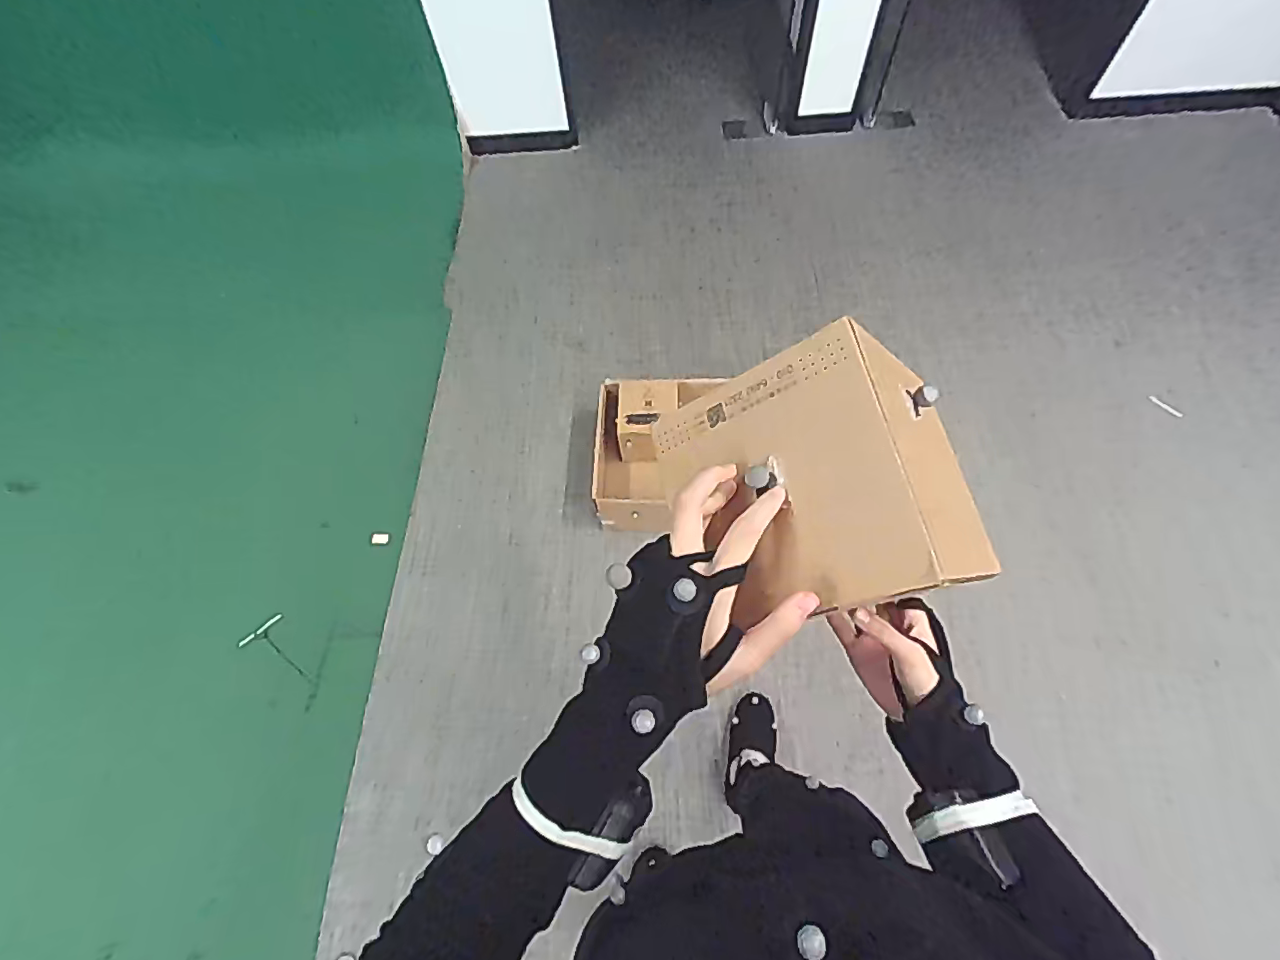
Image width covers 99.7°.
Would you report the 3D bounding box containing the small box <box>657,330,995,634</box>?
[{"bbox_3d":[0.134,0.011,0.411,0.168,0.179,0.176,-25,67,37],"label":"small box"}]
